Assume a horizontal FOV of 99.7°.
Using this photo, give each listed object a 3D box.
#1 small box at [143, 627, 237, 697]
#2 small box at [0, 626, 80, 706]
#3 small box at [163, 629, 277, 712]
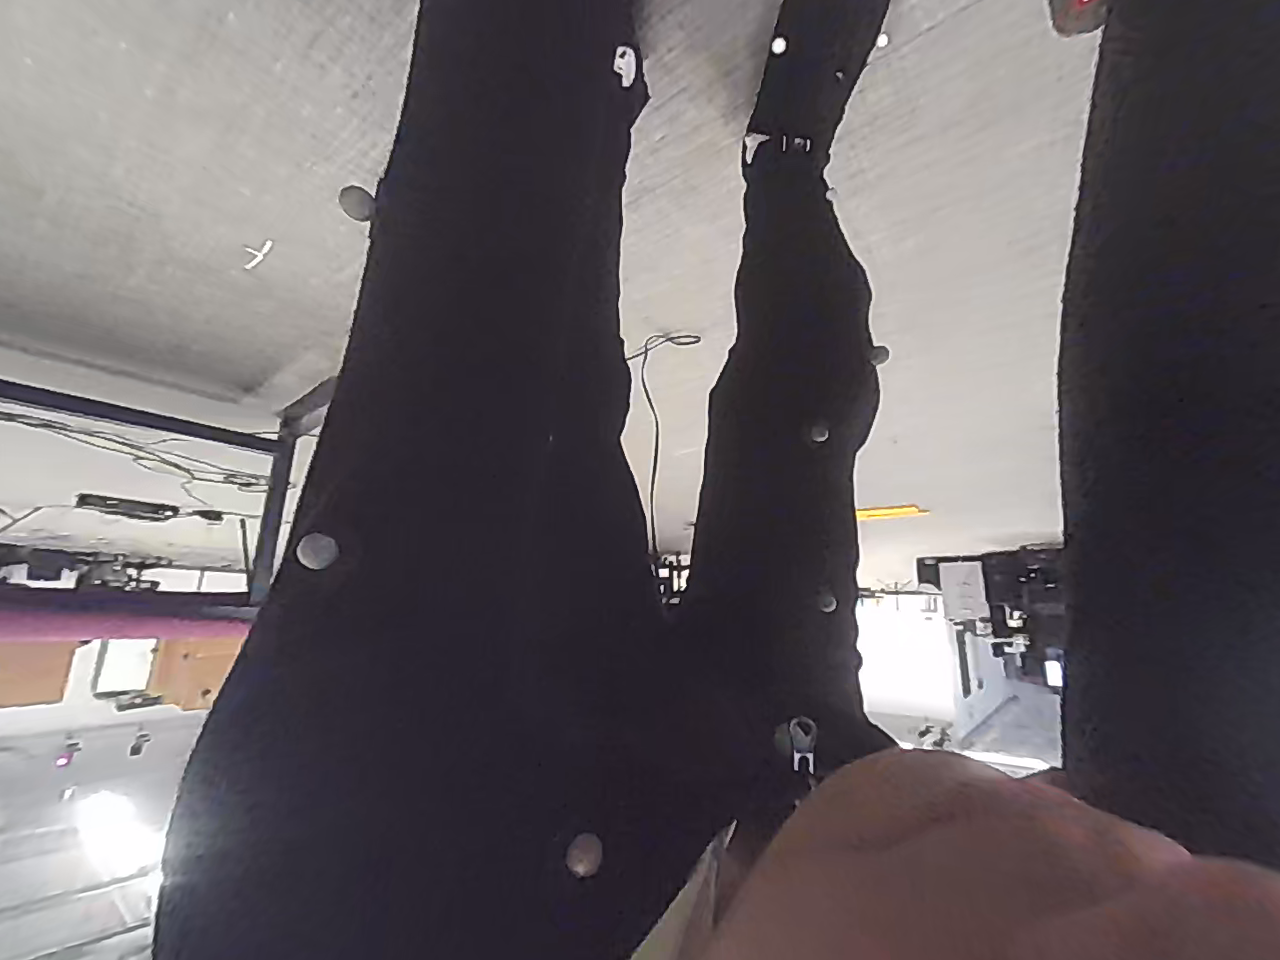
[{"bbox_3d":[-1.265,0.509,1.531,0.168,0.176,0.179,-13,160,42],"label":"small box"},{"bbox_3d":[-1.483,0.437,1.283,0.168,0.176,0.179,-11,162,40],"label":"small box"},{"bbox_3d":[-1.042,0.467,1.349,0.168,0.176,0.179,-8,162,39],"label":"small box"}]
